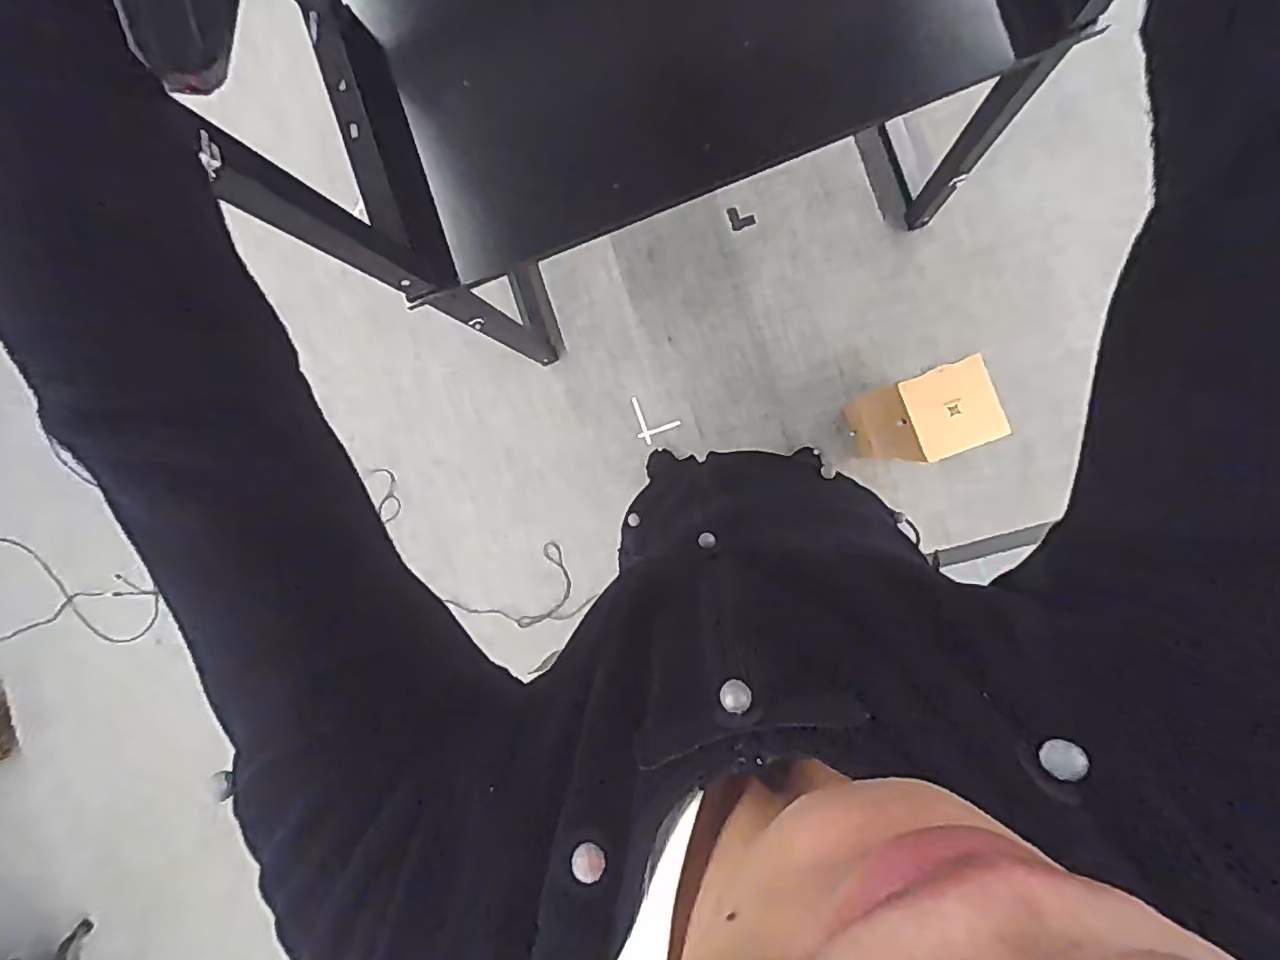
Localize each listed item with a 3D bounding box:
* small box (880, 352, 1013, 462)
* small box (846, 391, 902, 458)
[{"bbox_3d":[0.639,-0.149,1.148,0.168,0.176,0.179,-22,88,10],"label":"small box"},{"bbox_3d":[0.688,-0.166,1.472,0.179,0.176,0.168,-20,88,10],"label":"small box"}]
